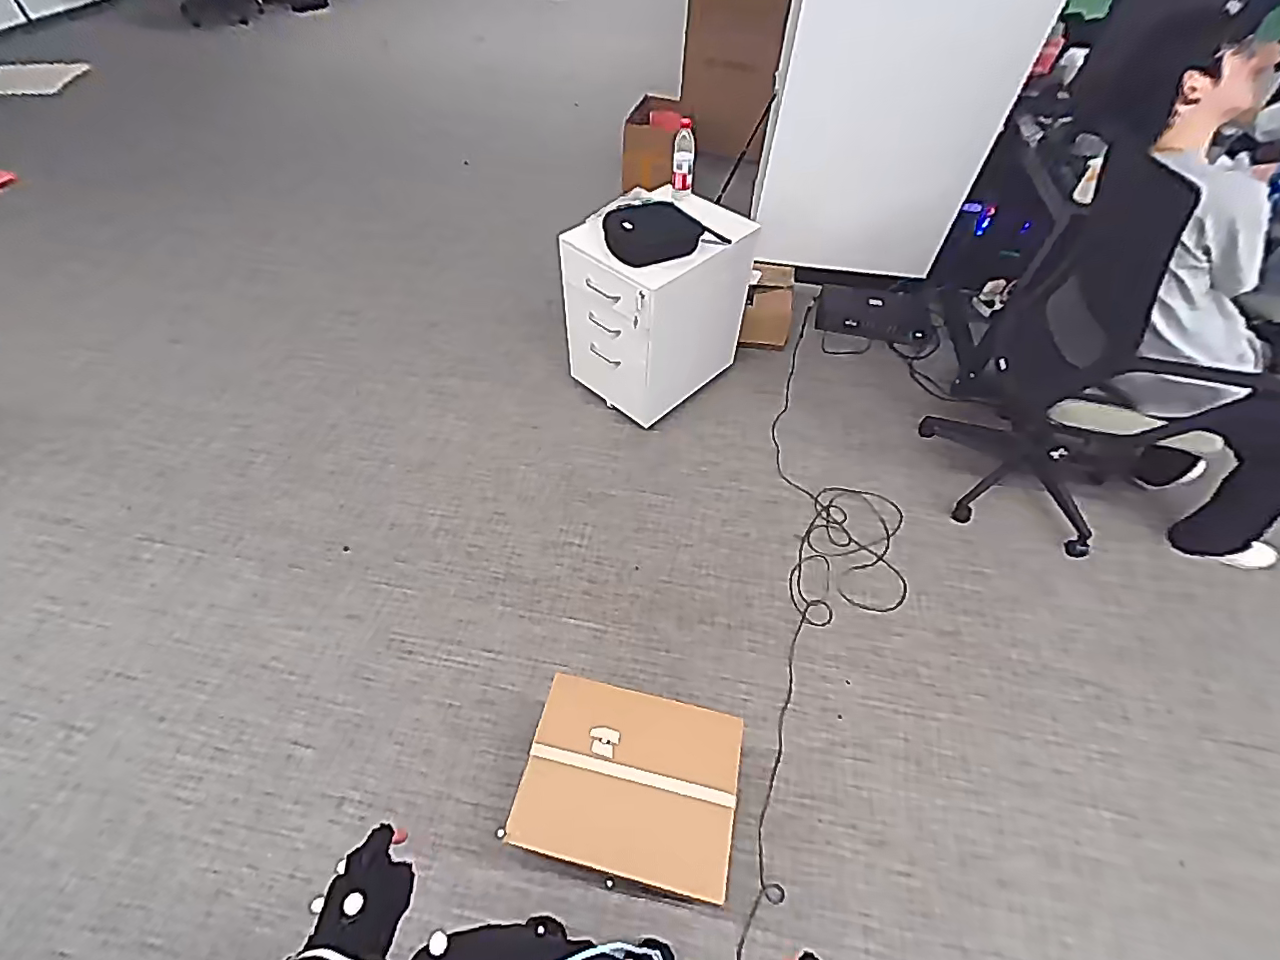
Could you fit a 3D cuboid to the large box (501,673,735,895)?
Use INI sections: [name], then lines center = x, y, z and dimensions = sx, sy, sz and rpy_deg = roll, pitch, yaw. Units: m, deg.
[large box]
center = -0.029, 0.655, 1.164
dimensions = 0.408, 0.320, 0.320
rpy_deg = 11, 53, 7
